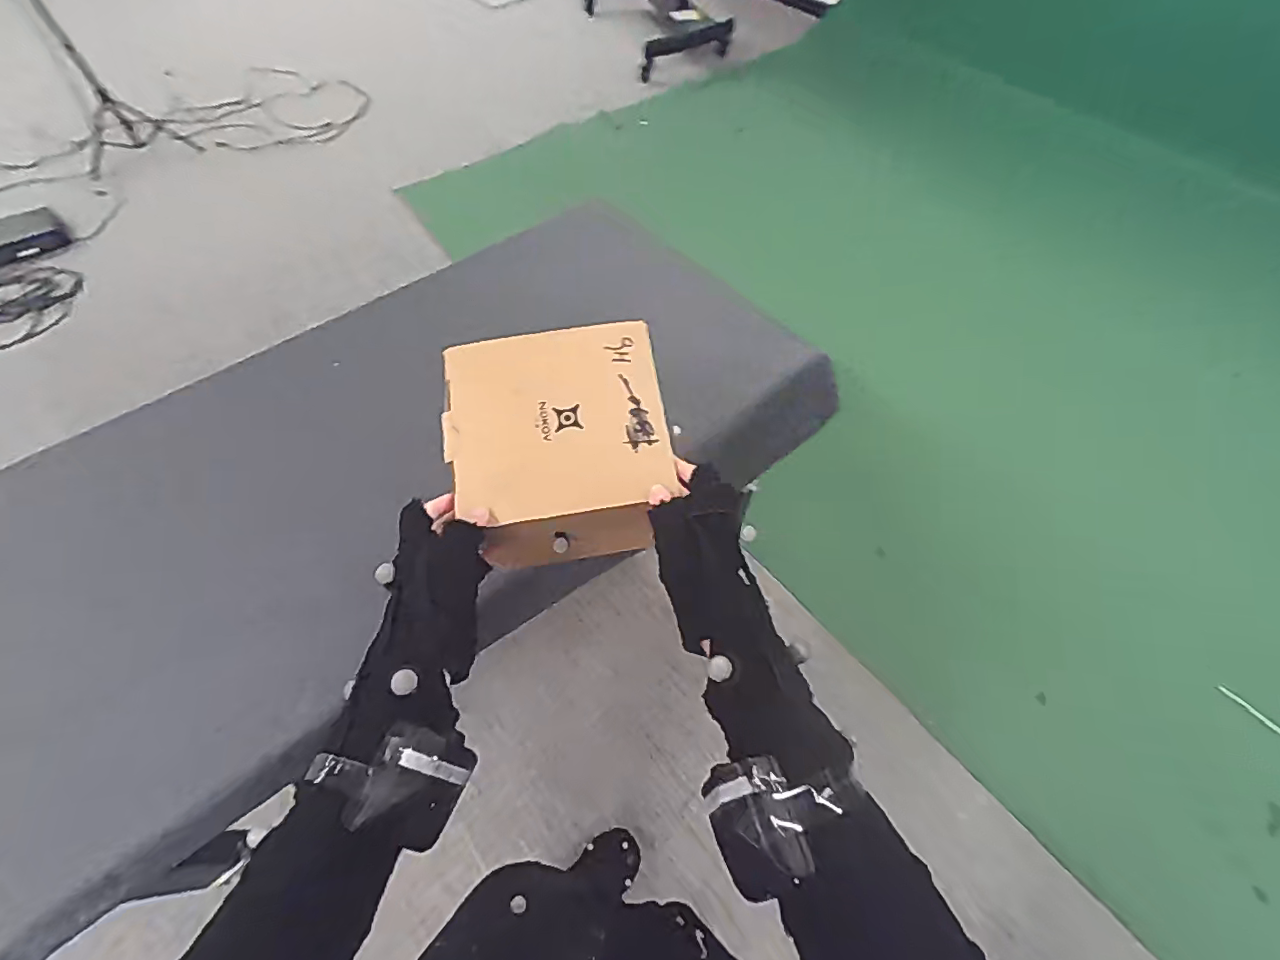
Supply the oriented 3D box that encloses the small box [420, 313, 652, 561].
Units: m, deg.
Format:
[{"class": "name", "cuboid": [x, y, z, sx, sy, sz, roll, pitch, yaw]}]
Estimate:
[{"class": "small box", "cuboid": [-0.087, -0.028, 0.512, 0.179, 0.176, 0.168, -10, 72, -3]}]
